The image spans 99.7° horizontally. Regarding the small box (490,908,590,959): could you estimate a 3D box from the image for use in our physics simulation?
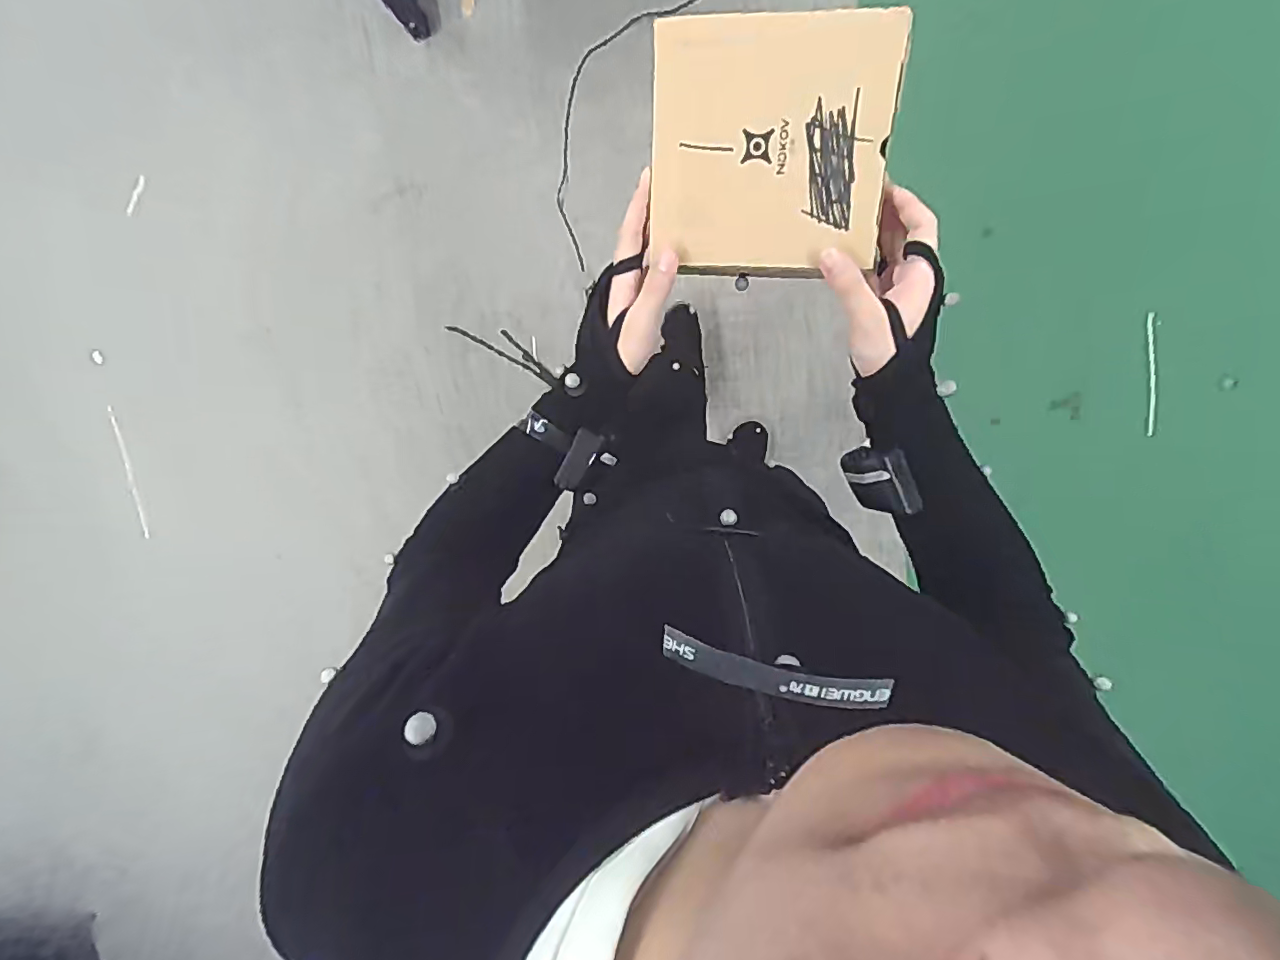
[{"bbox_3d":[-0.204,1.009,1.090,0.179,0.176,0.168,-10,98,8],"label":"small box"}]

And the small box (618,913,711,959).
[{"bbox_3d":[0.049,0.989,1.051,0.179,0.176,0.168,-6,99,12],"label":"small box"}]
